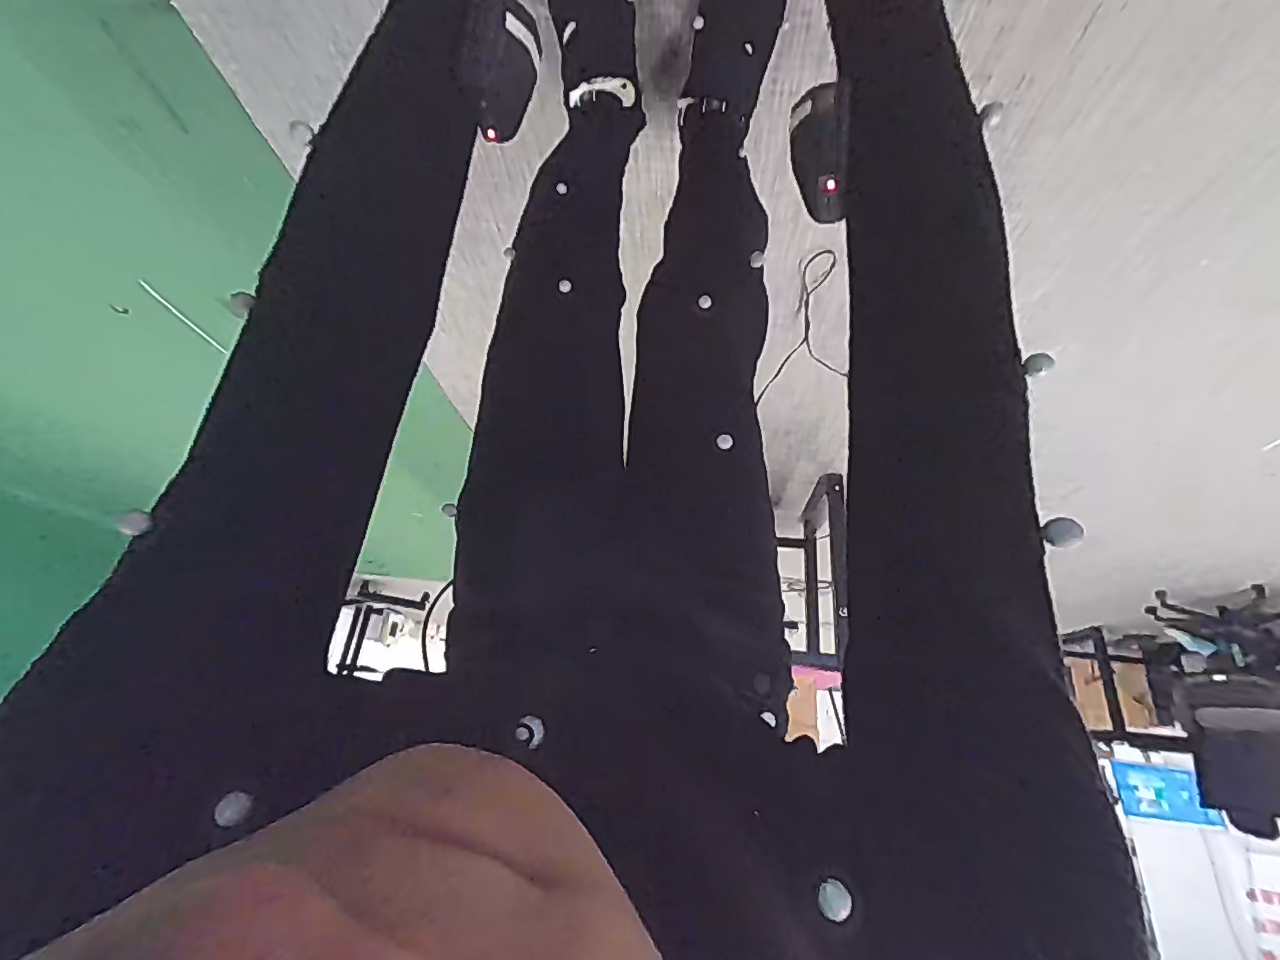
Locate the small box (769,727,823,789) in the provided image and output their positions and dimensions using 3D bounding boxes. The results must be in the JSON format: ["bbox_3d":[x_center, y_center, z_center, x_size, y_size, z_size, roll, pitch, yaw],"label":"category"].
[{"bbox_3d":[0.528,0.942,1.845,0.168,0.176,0.179,1,155,12],"label":"small box"}]

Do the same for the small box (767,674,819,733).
[{"bbox_3d":[0.539,0.793,1.914,0.168,0.176,0.179,2,155,11],"label":"small box"}]
